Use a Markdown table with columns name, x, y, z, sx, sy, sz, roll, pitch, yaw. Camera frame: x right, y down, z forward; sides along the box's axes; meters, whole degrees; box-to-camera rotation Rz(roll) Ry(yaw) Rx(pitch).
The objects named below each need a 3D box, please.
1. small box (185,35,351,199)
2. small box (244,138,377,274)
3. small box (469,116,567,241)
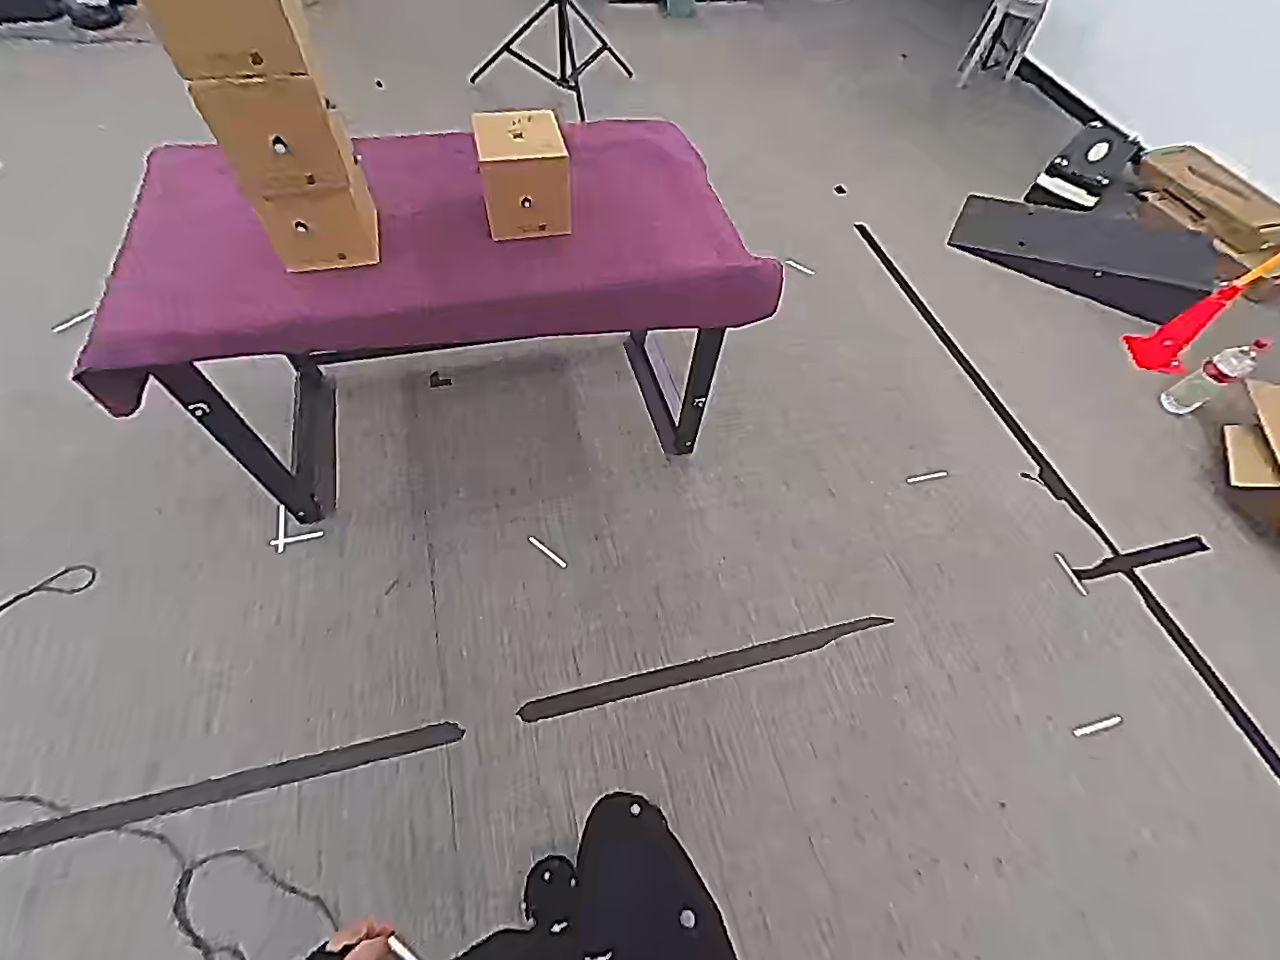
| name | x | y | z | sx | sy | sz | roll | pitch | yaw |
| --- | --- | --- | --- | --- | --- | --- | --- | --- | --- |
| small box | -0.589 | -0.578 | 0.875 | 0.168 | 0.176 | 0.179 | -16 | 61 | -14 |
| small box | -0.611 | -0.510 | 1.023 | 0.168 | 0.176 | 0.179 | -12 | 60 | -12 |
| small box | -0.247 | -0.616 | 1.119 | 0.168 | 0.176 | 0.179 | -11 | 60 | -12 |
